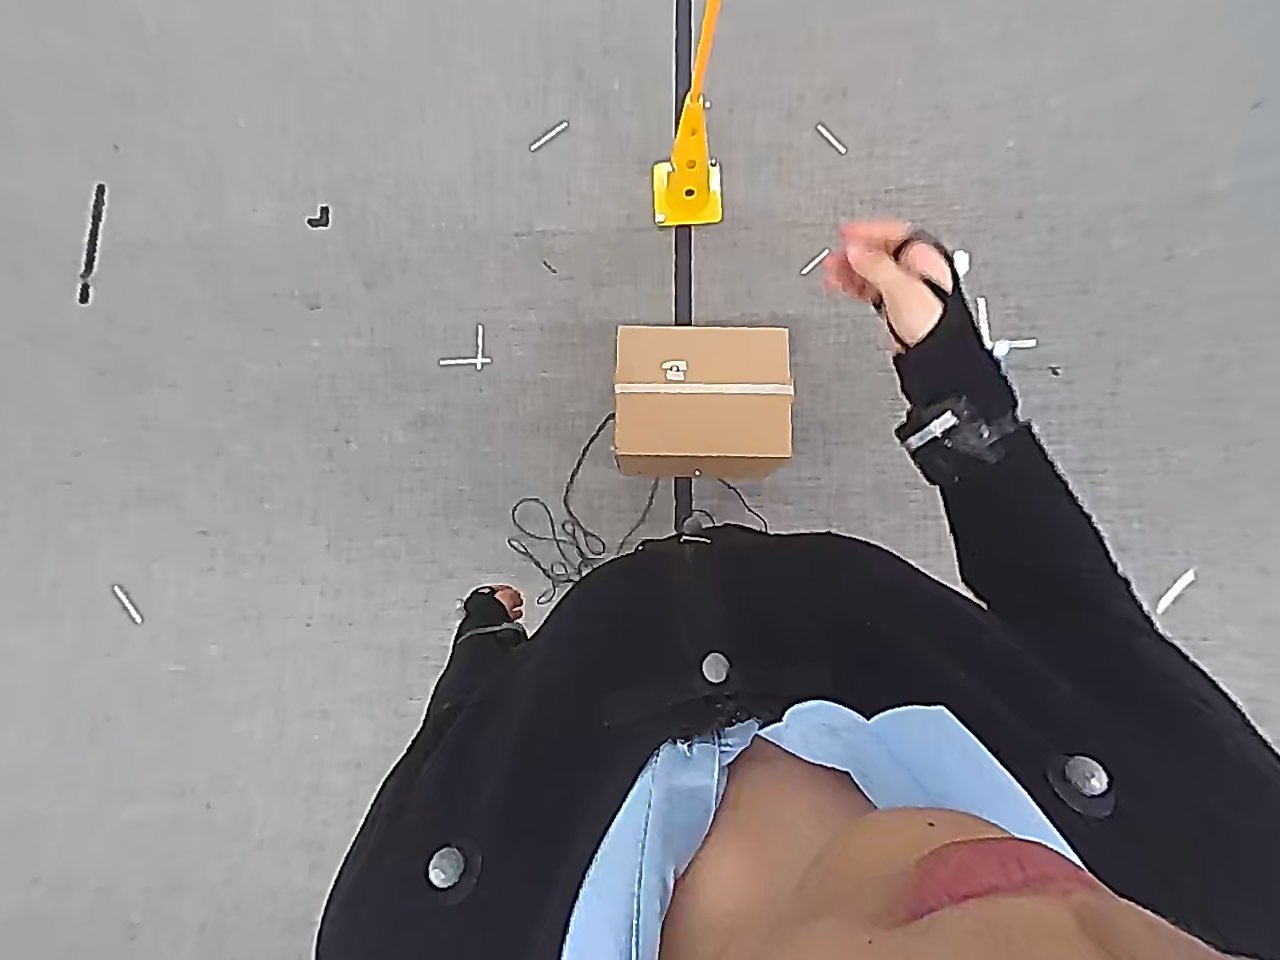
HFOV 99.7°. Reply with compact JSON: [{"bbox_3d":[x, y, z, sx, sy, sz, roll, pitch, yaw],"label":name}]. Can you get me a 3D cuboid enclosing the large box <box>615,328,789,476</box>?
[{"bbox_3d":[0.148,-0.184,1.408,0.408,0.320,0.320,0,80,2],"label":"large box"}]
